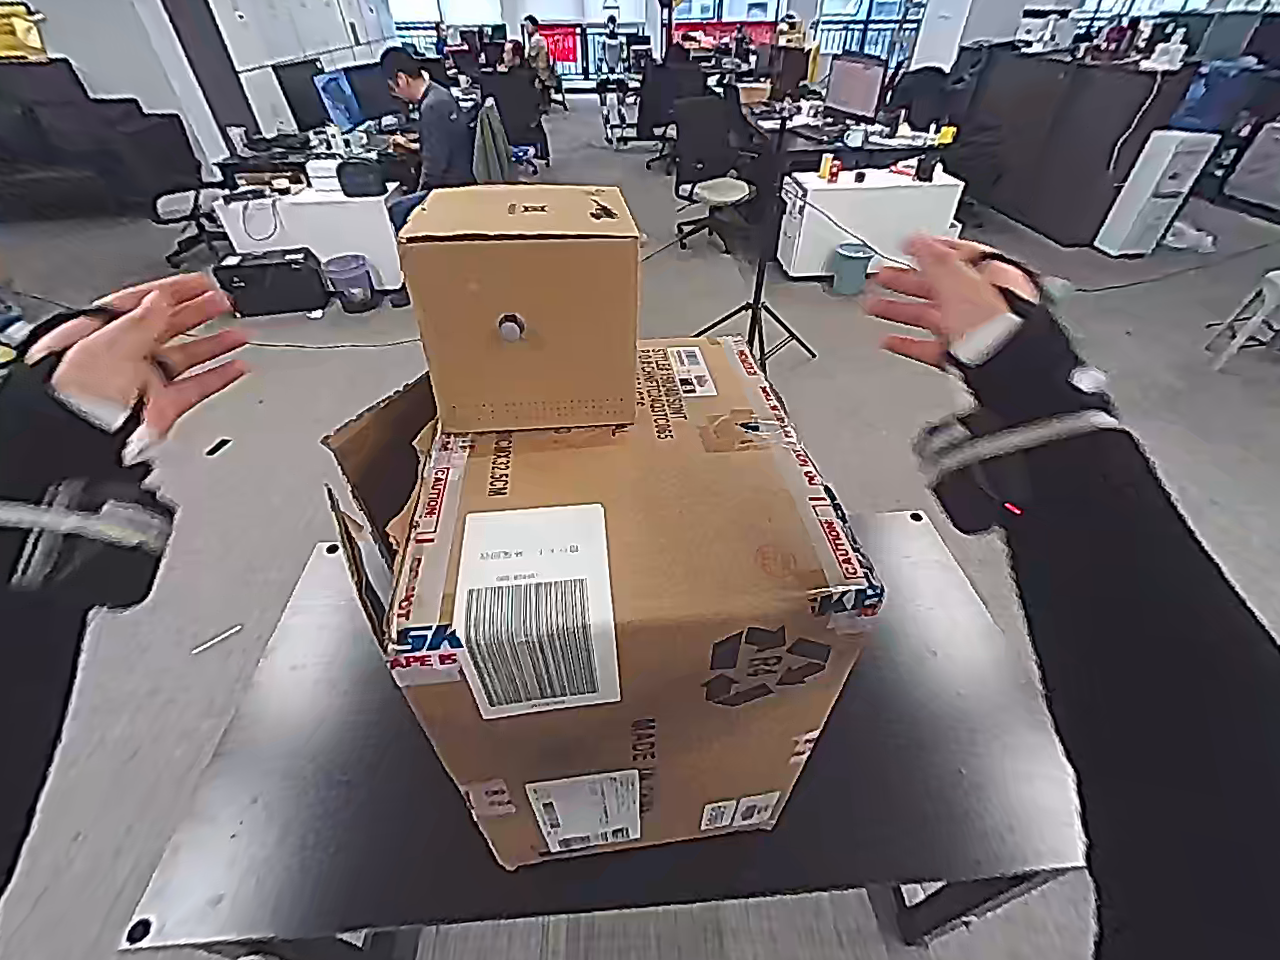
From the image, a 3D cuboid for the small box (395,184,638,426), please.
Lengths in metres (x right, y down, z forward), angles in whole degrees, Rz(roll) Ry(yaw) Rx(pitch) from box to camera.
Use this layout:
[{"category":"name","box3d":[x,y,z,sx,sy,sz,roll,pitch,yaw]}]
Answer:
[{"category":"small box","box3d":[-0.097,-0.162,0.500,0.179,0.176,0.168,-5,40,-6]}]
